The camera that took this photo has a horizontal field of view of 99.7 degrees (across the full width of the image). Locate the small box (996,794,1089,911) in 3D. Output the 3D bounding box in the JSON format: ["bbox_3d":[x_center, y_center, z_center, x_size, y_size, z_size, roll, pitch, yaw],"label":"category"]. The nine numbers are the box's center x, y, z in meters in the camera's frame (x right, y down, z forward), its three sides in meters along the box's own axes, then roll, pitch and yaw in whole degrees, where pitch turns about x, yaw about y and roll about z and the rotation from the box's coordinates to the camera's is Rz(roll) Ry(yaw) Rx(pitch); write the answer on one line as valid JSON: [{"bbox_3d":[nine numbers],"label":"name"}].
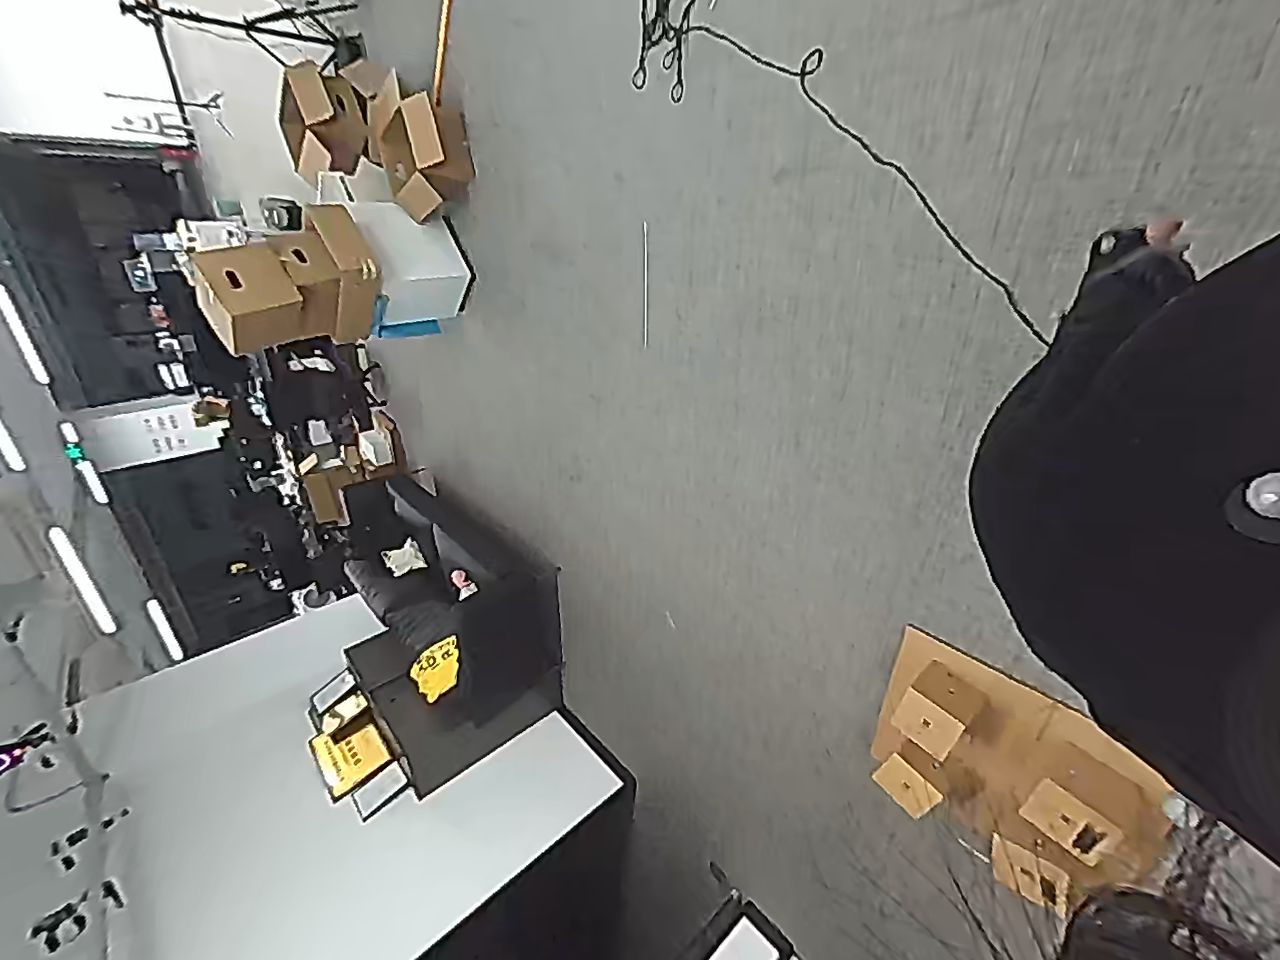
[{"bbox_3d":[1.120,1.023,1.504,0.179,0.176,0.168,10,115,50],"label":"small box"}]

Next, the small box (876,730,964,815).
[{"bbox_3d":[0.897,0.911,1.726,0.168,0.176,0.179,40,136,32],"label":"small box"}]

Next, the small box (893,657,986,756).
[{"bbox_3d":[0.892,0.663,1.604,0.168,0.176,0.179,35,132,38],"label":"small box"}]
